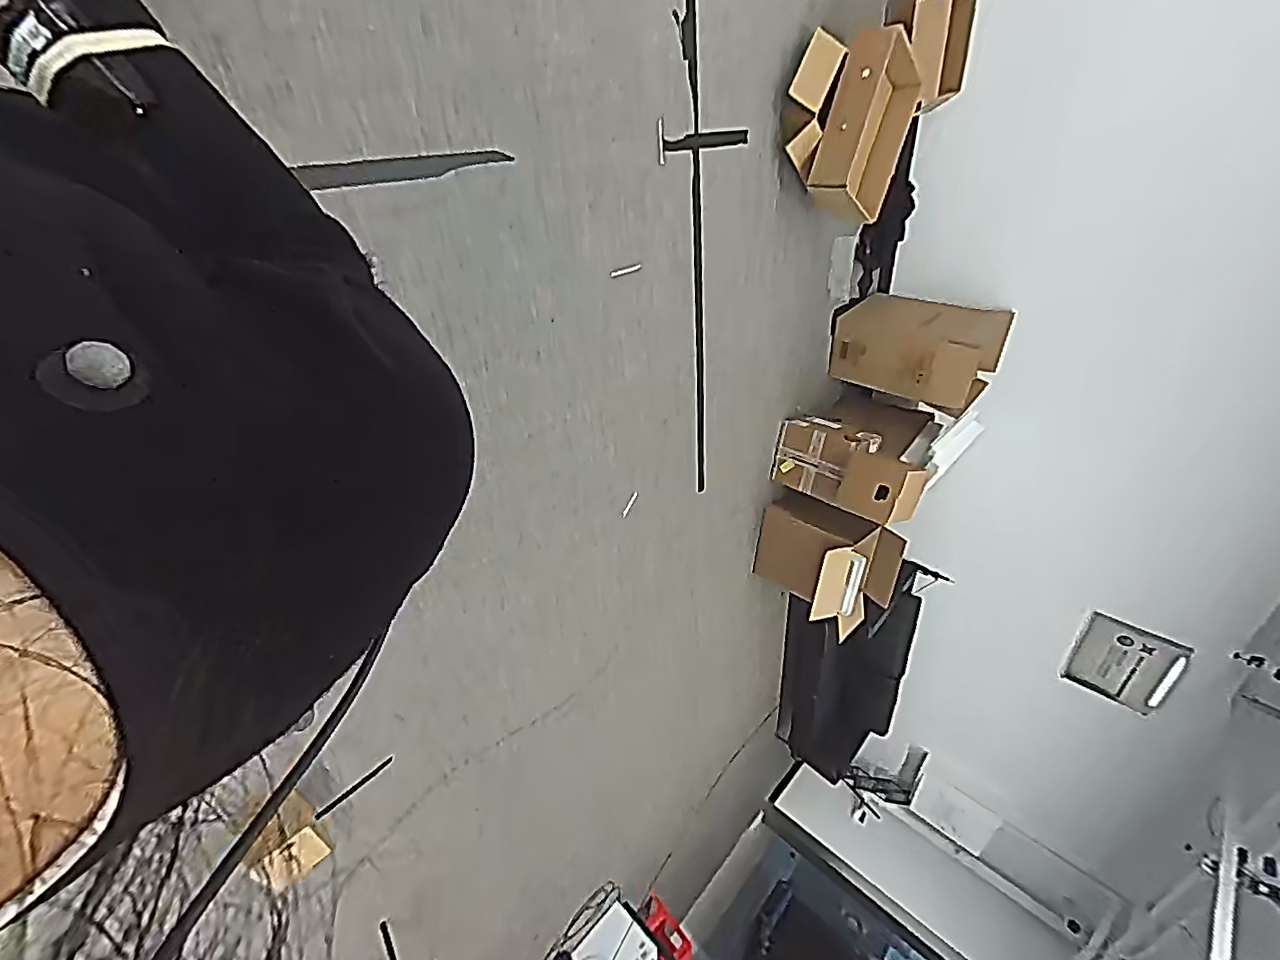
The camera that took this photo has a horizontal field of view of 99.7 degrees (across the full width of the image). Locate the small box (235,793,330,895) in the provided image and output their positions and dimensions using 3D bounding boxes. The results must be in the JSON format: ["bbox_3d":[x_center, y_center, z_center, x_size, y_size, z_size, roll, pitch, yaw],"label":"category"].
[{"bbox_3d":[-1.099,1.113,1.664,0.168,0.176,0.179,-34,134,-34],"label":"small box"}]
